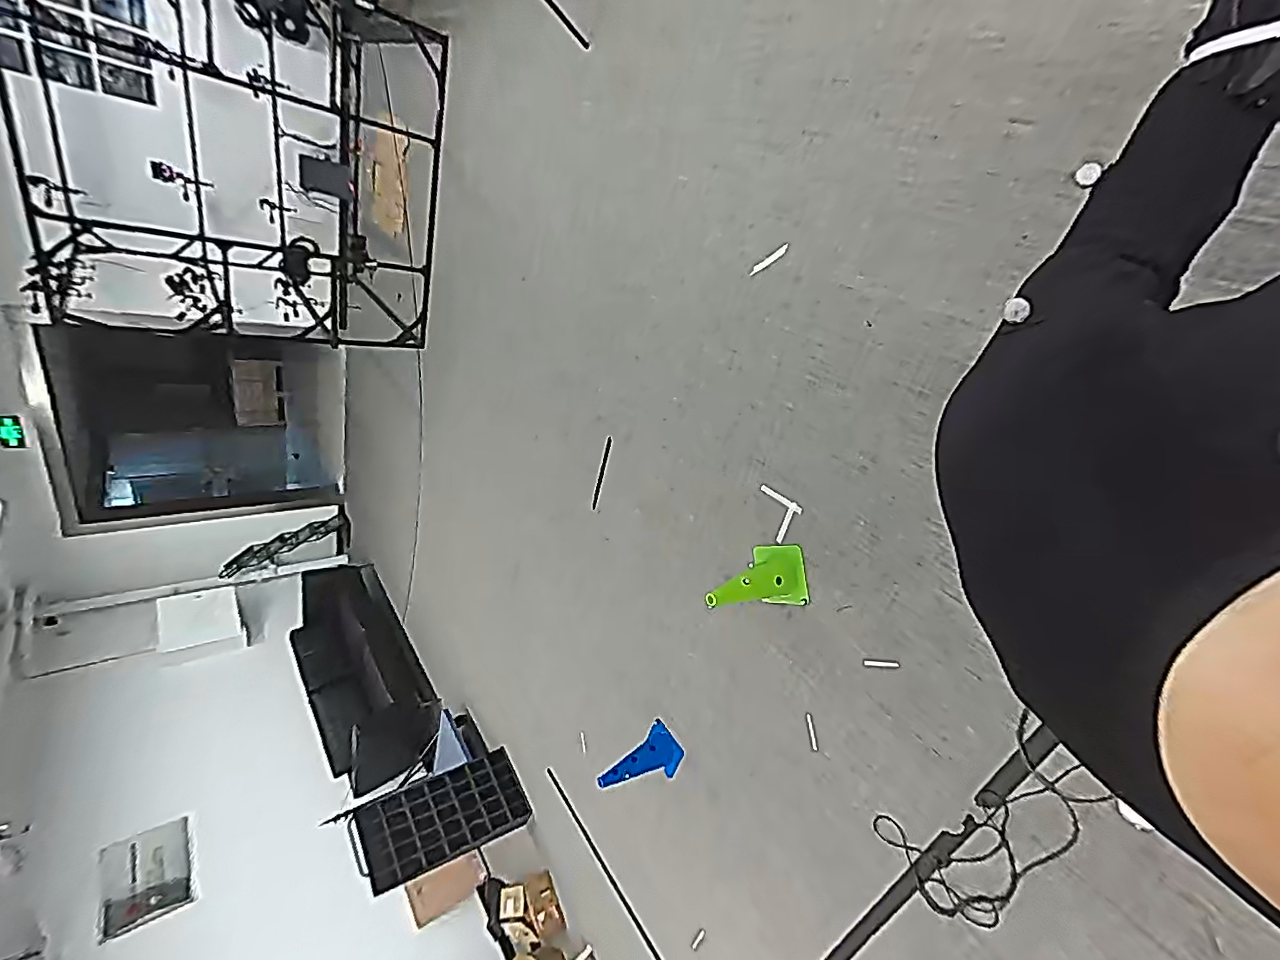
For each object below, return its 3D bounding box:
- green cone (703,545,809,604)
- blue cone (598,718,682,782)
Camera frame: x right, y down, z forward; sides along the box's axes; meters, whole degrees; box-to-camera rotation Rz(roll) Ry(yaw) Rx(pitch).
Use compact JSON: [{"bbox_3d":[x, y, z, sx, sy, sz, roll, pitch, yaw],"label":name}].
[{"bbox_3d":[0.349,0.336,1.743,0.202,0.368,0.200,-12,86,52],"label":"green cone"},{"bbox_3d":[-0.014,1.222,2.347,0.192,0.380,0.193,45,127,38],"label":"blue cone"}]
